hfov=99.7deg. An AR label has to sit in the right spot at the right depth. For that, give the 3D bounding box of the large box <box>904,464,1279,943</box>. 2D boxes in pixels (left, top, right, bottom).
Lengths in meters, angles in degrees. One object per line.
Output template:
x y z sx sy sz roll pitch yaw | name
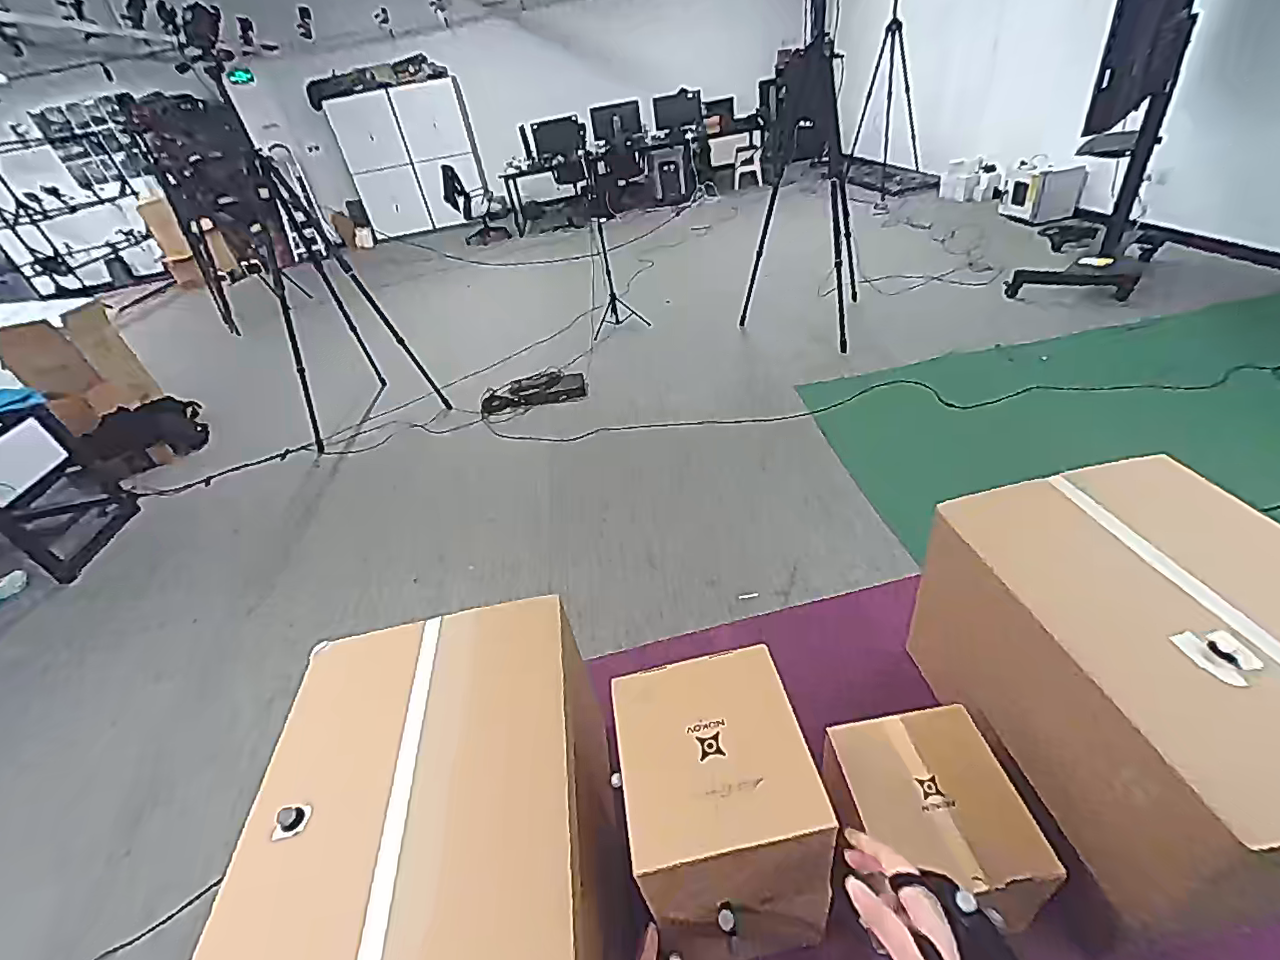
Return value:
0.586 0.238 0.649 0.320 0.320 0.408 -12 38 -1 | large box
